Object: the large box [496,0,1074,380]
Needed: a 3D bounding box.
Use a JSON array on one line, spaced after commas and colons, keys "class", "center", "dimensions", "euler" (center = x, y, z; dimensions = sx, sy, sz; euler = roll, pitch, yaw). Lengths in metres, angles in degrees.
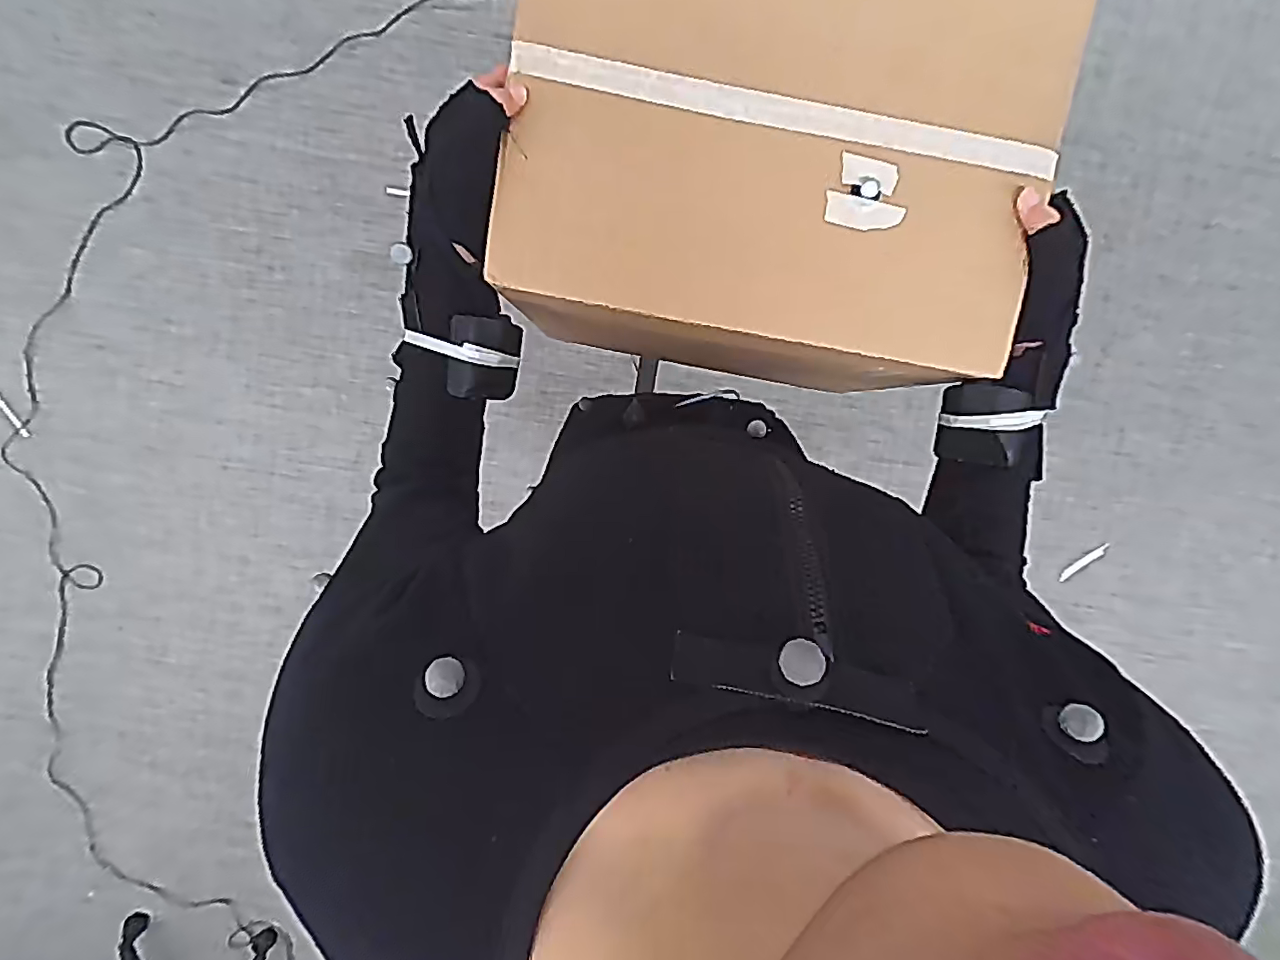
[{"class": "large box", "center": [0.100, -0.293, 0.551], "dimensions": [0.408, 0.320, 0.320], "euler": [10, 98, -4]}]
